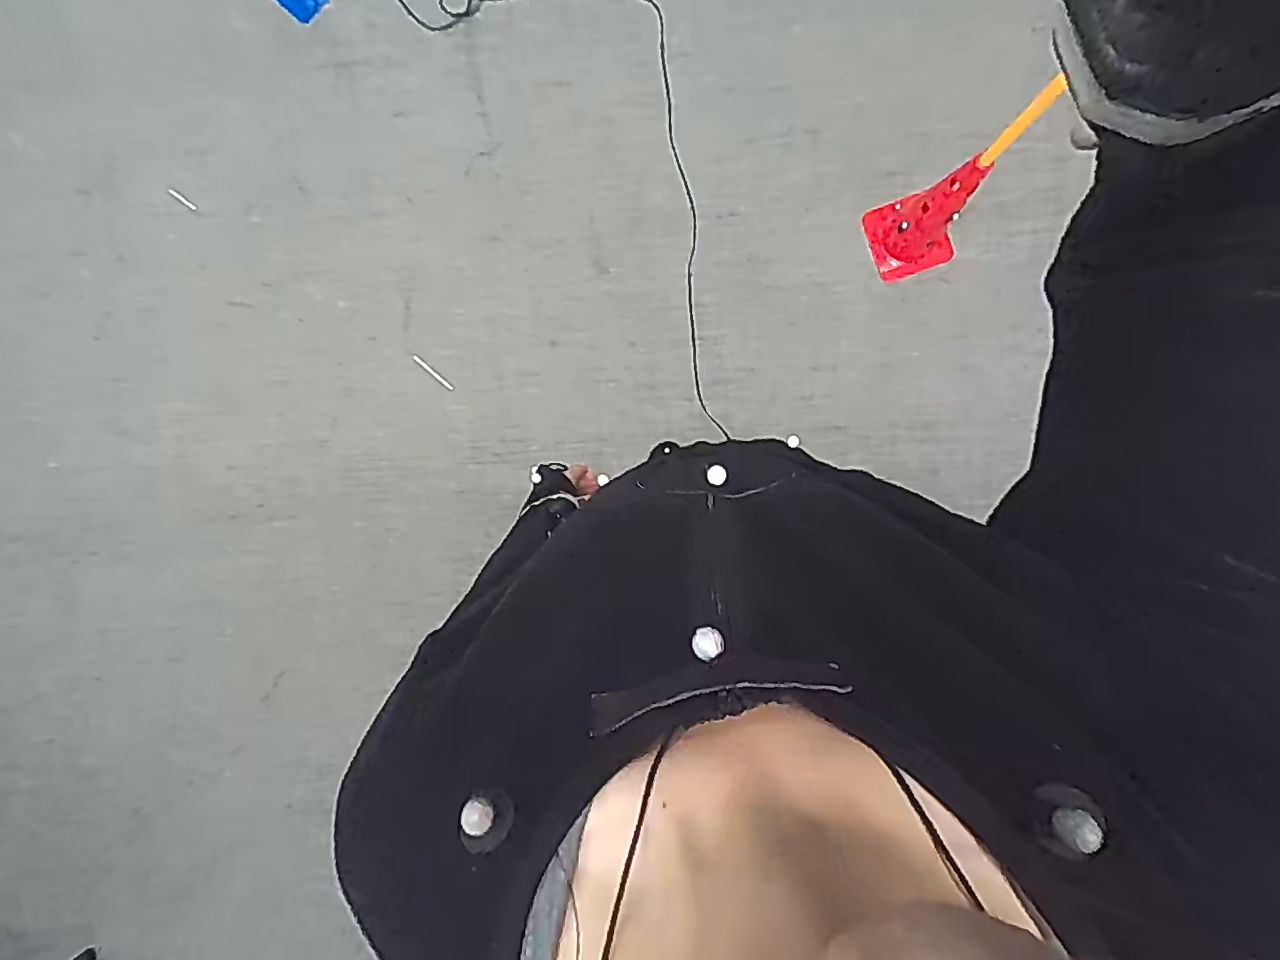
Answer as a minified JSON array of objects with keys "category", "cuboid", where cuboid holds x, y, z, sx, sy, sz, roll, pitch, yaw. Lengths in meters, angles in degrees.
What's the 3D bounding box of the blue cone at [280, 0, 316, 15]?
[{"category":"blue cone","cuboid":[-0.954,-1.388,1.321,0.192,0.380,0.193,42,95,0]}]
